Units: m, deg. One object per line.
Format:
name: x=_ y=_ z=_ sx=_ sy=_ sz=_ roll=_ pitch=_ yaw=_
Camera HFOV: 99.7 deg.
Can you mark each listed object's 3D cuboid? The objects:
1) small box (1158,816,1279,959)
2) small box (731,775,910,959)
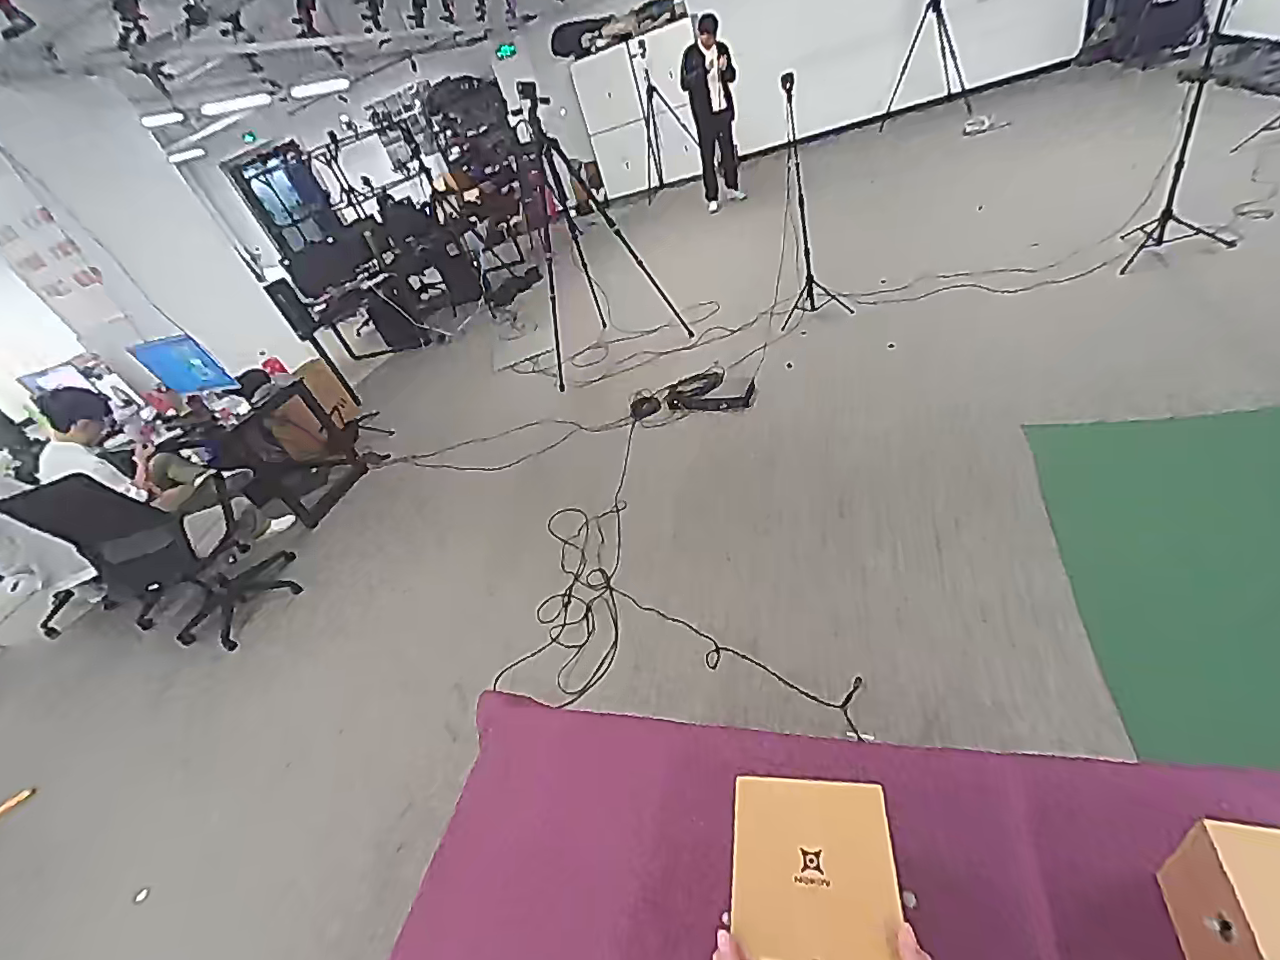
small box: x=0.609 y=0.436 z=0.476 sx=0.168 sy=0.176 sz=0.179 roll=-3 pitch=40 yaw=24
small box: x=0.198 y=0.466 z=0.612 sx=0.168 sy=0.176 sz=0.179 roll=-5 pitch=38 yaw=16
